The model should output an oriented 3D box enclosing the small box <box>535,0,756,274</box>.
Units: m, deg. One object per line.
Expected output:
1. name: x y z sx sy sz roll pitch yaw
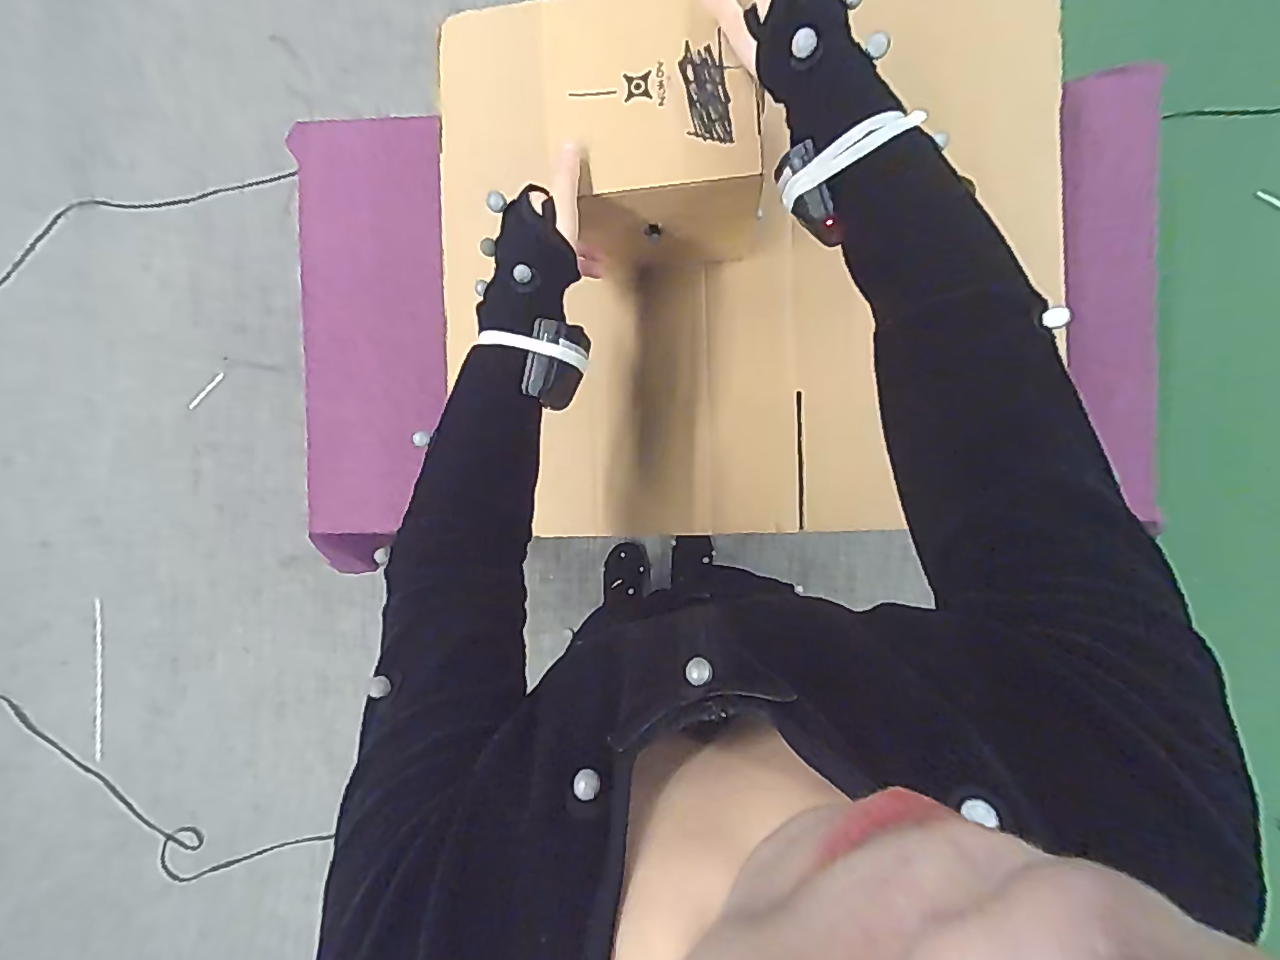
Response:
1. small box: 0.013 -0.315 0.520 0.179 0.176 0.168 -3 90 9
